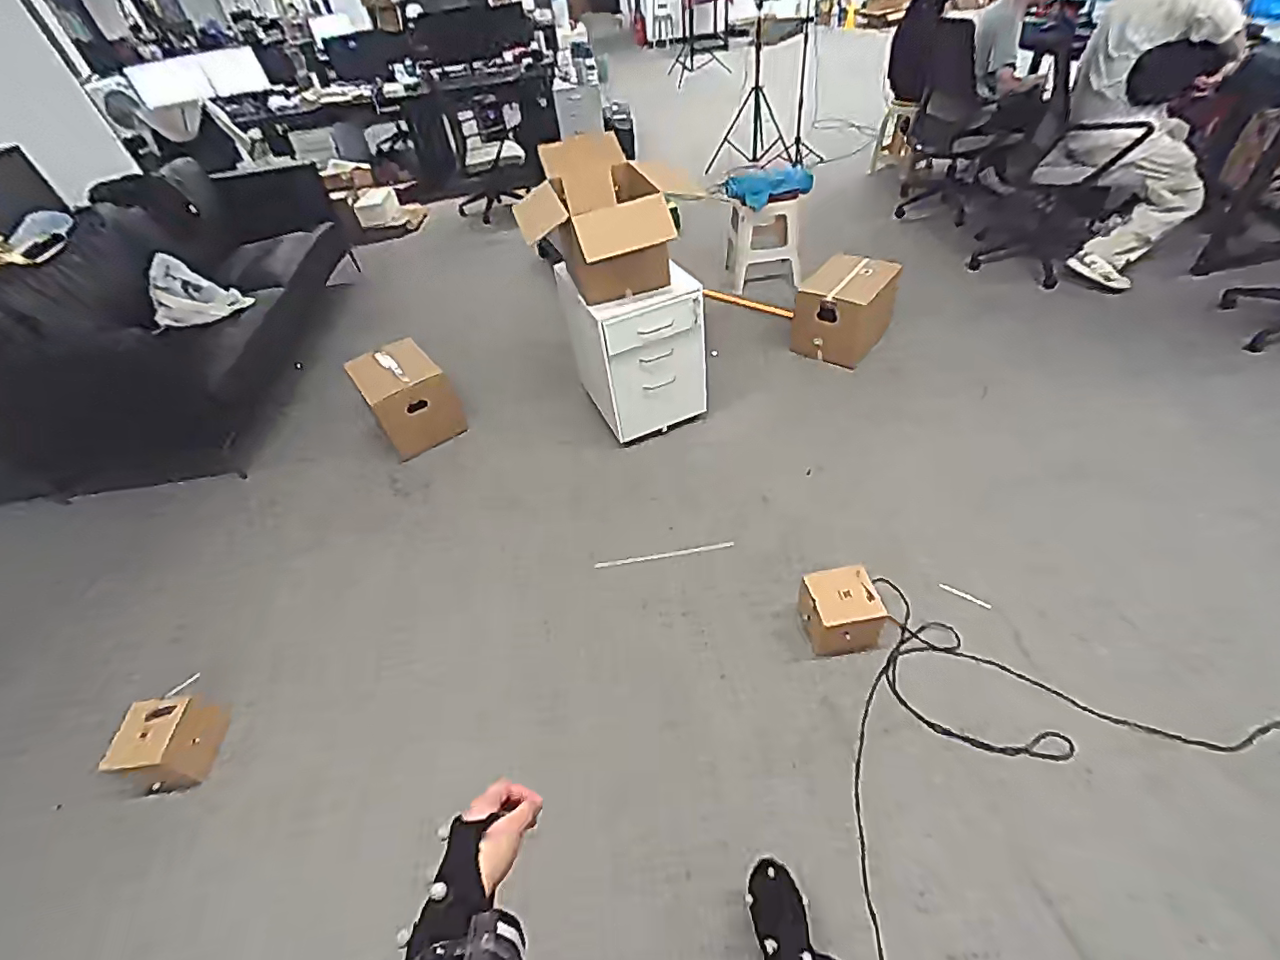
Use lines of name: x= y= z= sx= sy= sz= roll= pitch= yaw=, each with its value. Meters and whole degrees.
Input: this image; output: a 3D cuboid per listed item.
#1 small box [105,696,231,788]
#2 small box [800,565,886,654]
small box: x=-1.283 y=0.723 z=1.489 sx=0.168 sy=0.176 sz=0.179 roll=-8 pitch=46 yaw=2
small box: x=0.559 y=0.368 z=1.519 sx=0.179 sy=0.176 sz=0.168 roll=-11 pitch=46 yaw=0
